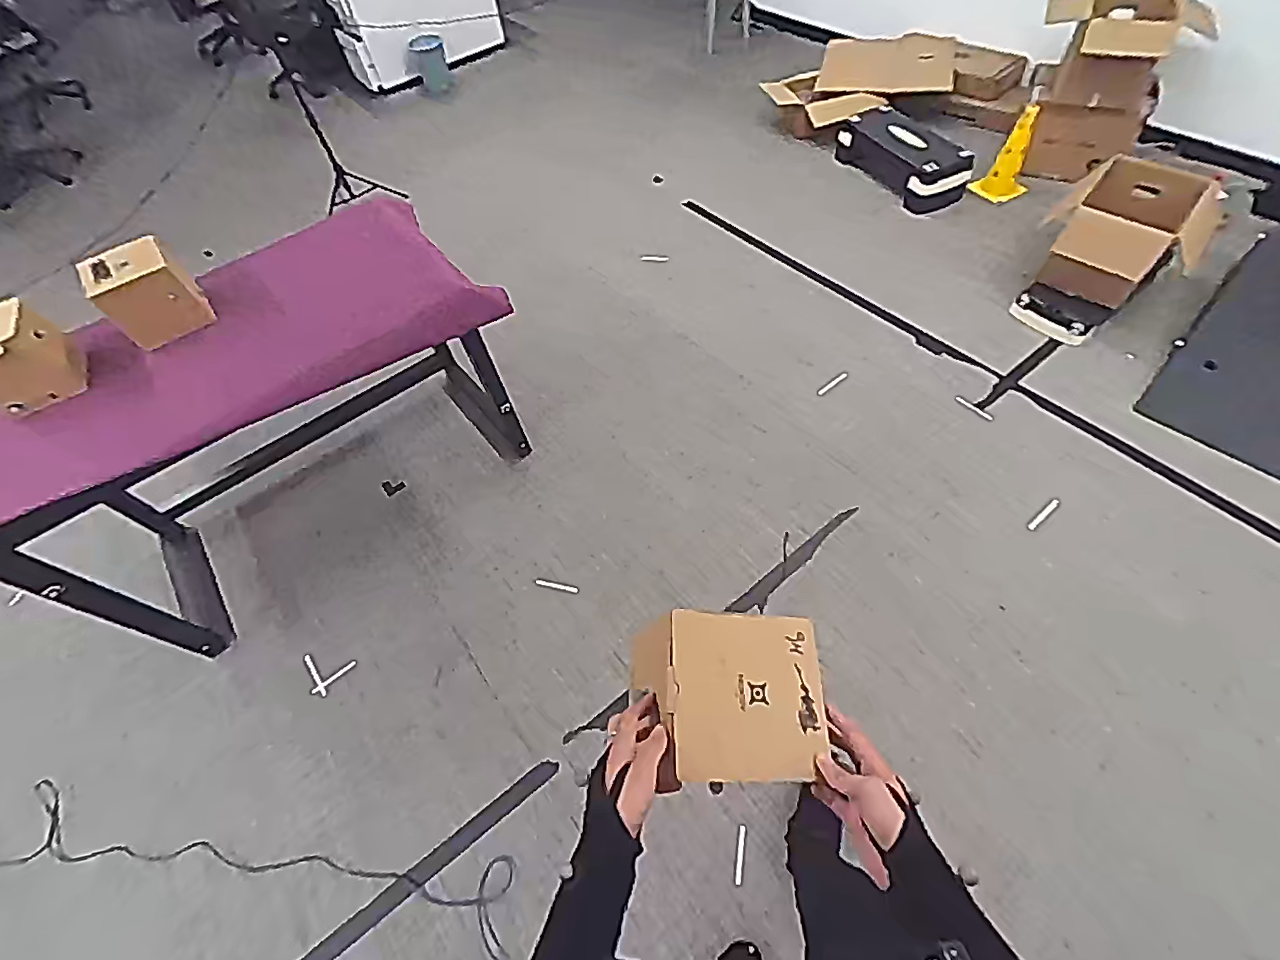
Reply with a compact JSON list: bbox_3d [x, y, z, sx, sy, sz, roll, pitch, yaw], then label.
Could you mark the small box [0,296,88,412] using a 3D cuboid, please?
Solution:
[{"bbox_3d":[-1.430,-0.279,1.243,0.168,0.176,0.179,-30,59,-14],"label":"small box"}]
